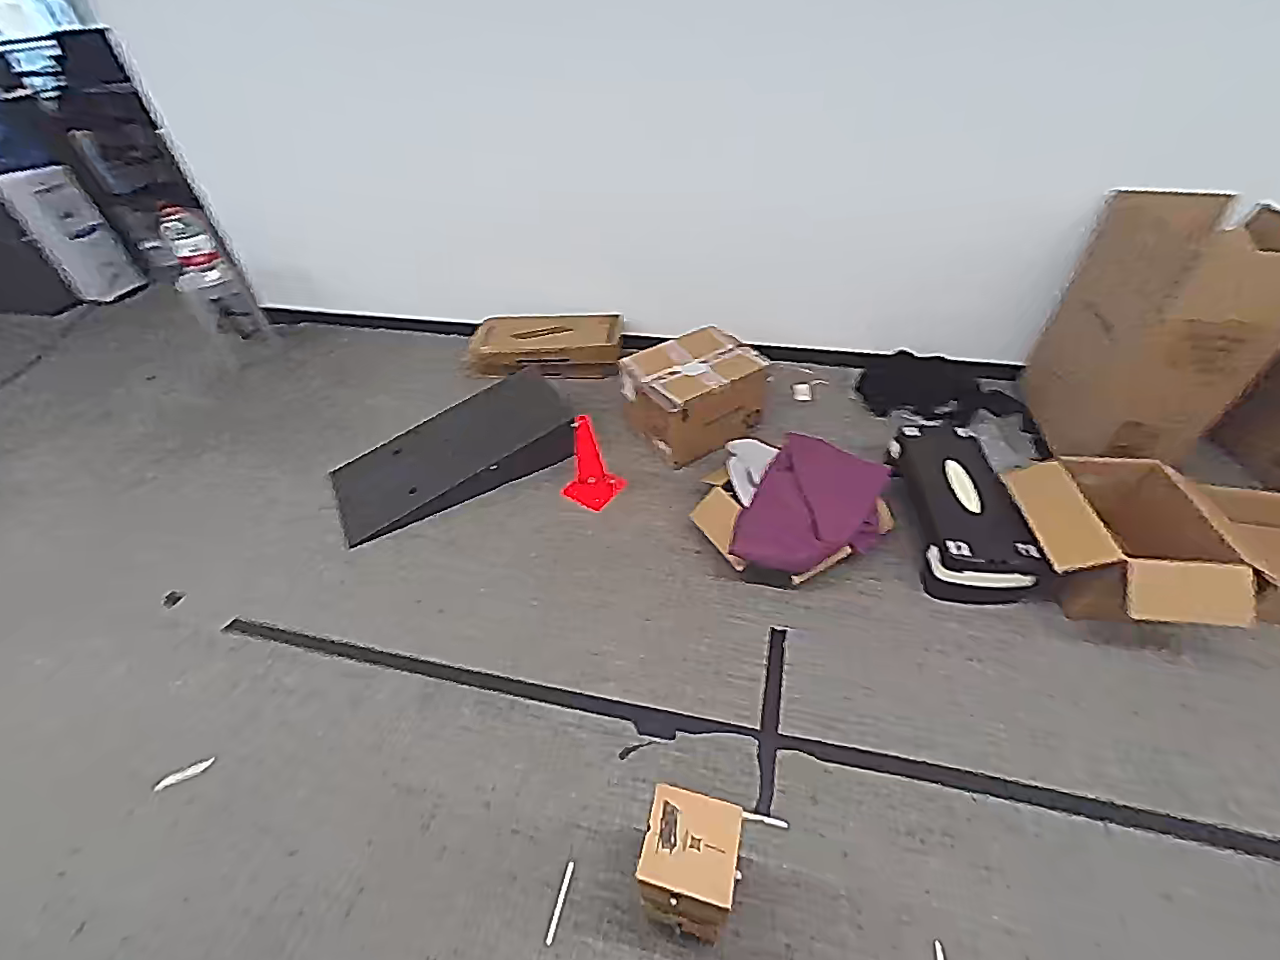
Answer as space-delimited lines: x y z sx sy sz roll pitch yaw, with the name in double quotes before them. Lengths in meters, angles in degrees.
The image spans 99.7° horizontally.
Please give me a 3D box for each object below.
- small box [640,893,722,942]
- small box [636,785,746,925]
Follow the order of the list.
"small box" 0.106 0.856 1.162 0.168 0.176 0.179 9 46 14
"small box" 0.101 0.731 1.052 0.179 0.176 0.168 9 45 13
